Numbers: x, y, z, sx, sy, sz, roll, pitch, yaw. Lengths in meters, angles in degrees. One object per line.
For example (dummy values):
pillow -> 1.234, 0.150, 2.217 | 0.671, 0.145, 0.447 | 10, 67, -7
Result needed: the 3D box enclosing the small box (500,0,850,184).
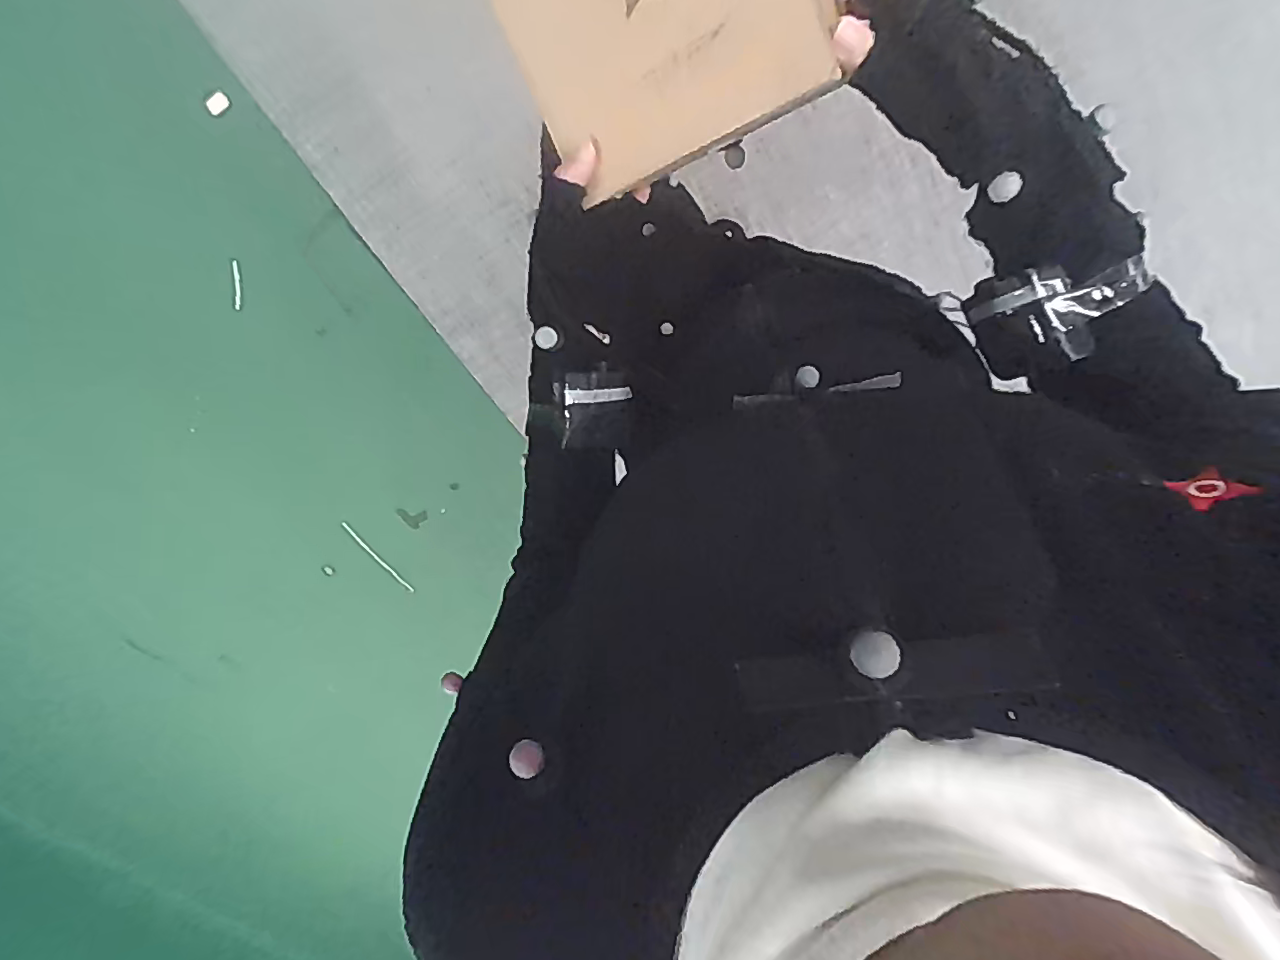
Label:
small box -> 0.025, -0.316, 0.339 | 0.168, 0.176, 0.179 | -9, 119, 32
